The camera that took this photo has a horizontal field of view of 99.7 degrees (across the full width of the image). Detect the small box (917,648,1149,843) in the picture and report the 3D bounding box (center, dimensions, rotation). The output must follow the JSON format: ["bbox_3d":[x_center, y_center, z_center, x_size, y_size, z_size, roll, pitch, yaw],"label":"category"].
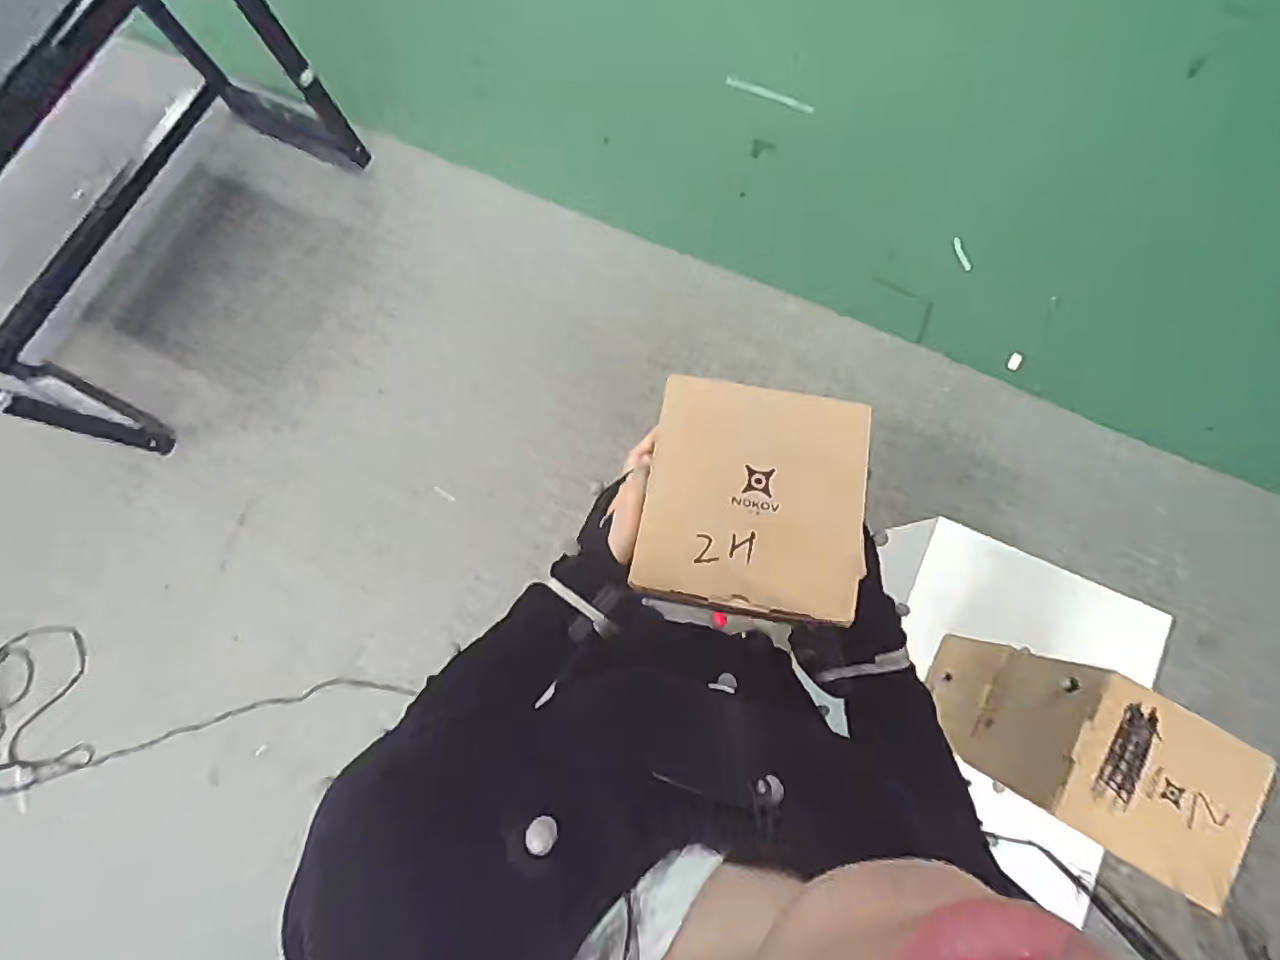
[{"bbox_3d":[0.535,0.353,0.762,0.179,0.176,0.168,28,80,7],"label":"small box"}]

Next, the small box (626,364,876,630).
[{"bbox_3d":[0.086,0.027,0.472,0.168,0.176,0.179,10,74,5],"label":"small box"}]
